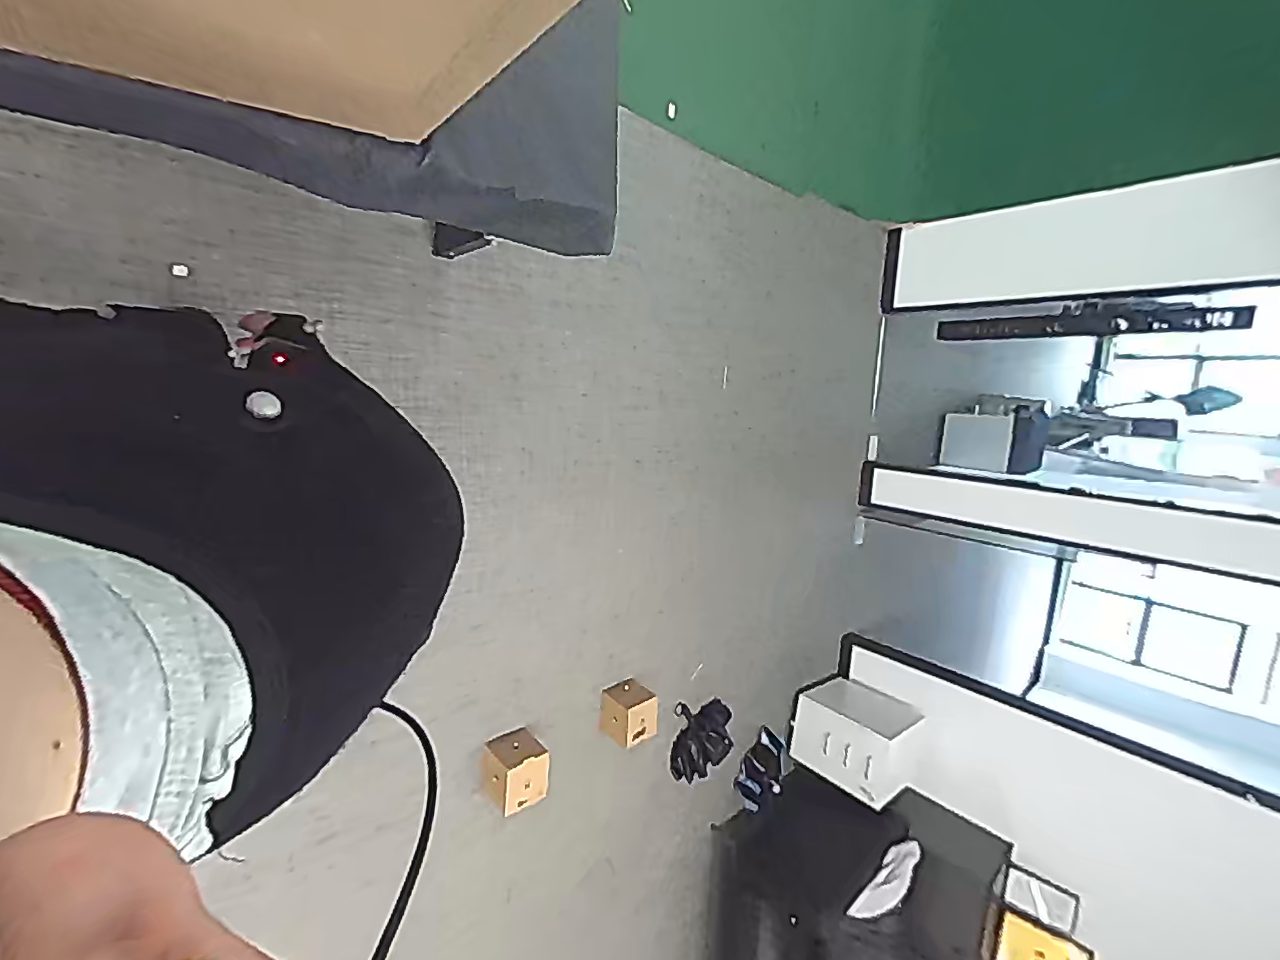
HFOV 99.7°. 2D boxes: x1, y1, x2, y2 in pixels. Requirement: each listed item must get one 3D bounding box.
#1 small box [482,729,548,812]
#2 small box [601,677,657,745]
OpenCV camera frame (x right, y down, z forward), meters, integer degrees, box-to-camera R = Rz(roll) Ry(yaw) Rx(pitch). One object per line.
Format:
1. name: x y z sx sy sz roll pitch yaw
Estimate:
1. small box: -0.441 1.002 1.891 0.168 0.176 0.179 -3 100 -42
2. small box: -0.049 0.949 2.233 0.168 0.176 0.179 -6 102 -42
